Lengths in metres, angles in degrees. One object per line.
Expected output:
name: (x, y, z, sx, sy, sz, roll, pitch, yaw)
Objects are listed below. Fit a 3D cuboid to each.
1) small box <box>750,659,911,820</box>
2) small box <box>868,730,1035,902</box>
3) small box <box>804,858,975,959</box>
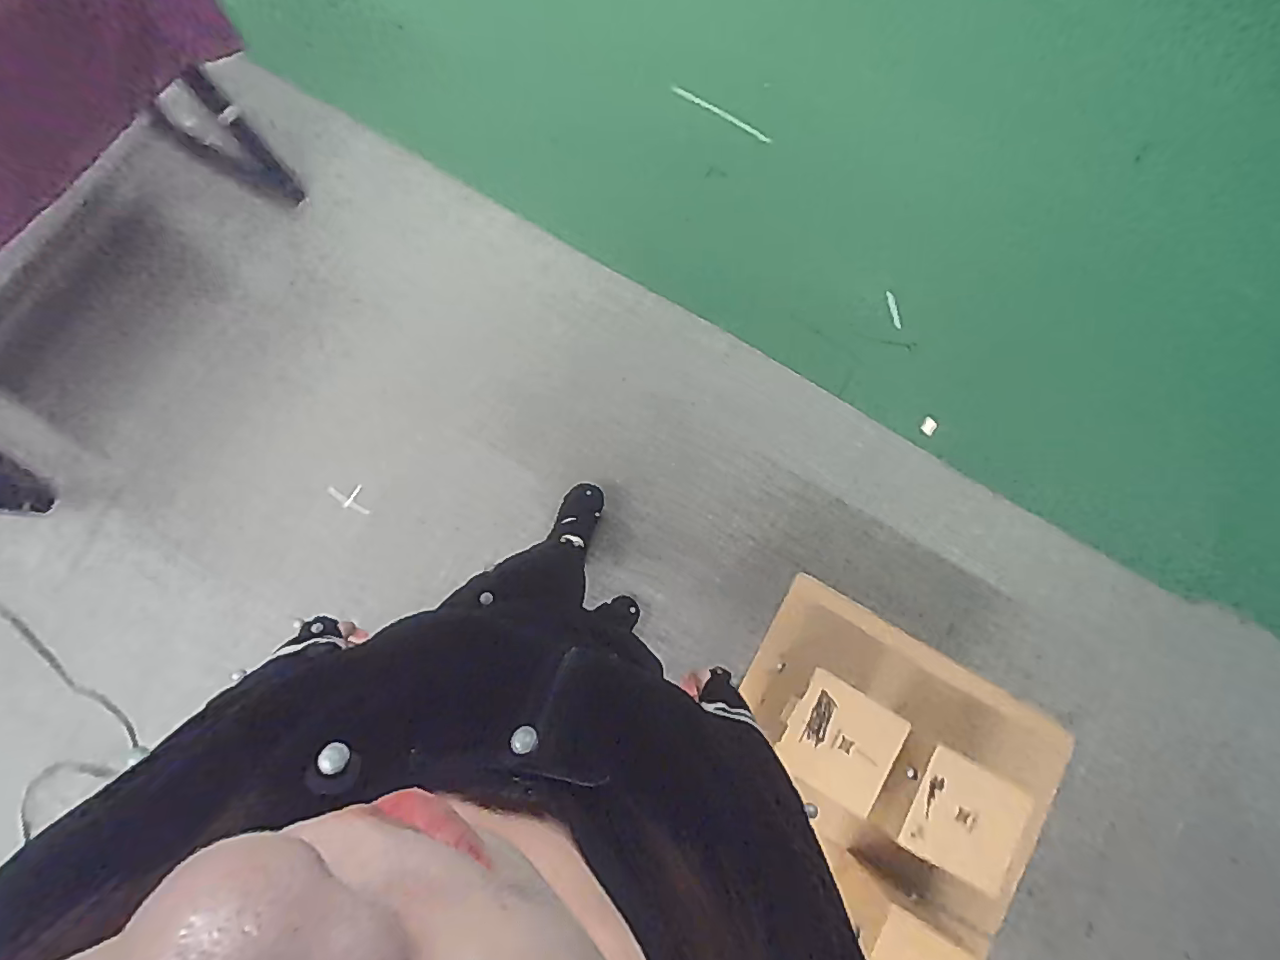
small box: (0.313, 0.427, 0.928, 0.179, 0.176, 0.168, 32, 81, 3)
small box: (0.501, 0.544, 0.915, 0.179, 0.176, 0.168, 30, 80, 2)
small box: (0.395, 0.771, 0.878, 0.168, 0.176, 0.179, 34, 80, 4)
